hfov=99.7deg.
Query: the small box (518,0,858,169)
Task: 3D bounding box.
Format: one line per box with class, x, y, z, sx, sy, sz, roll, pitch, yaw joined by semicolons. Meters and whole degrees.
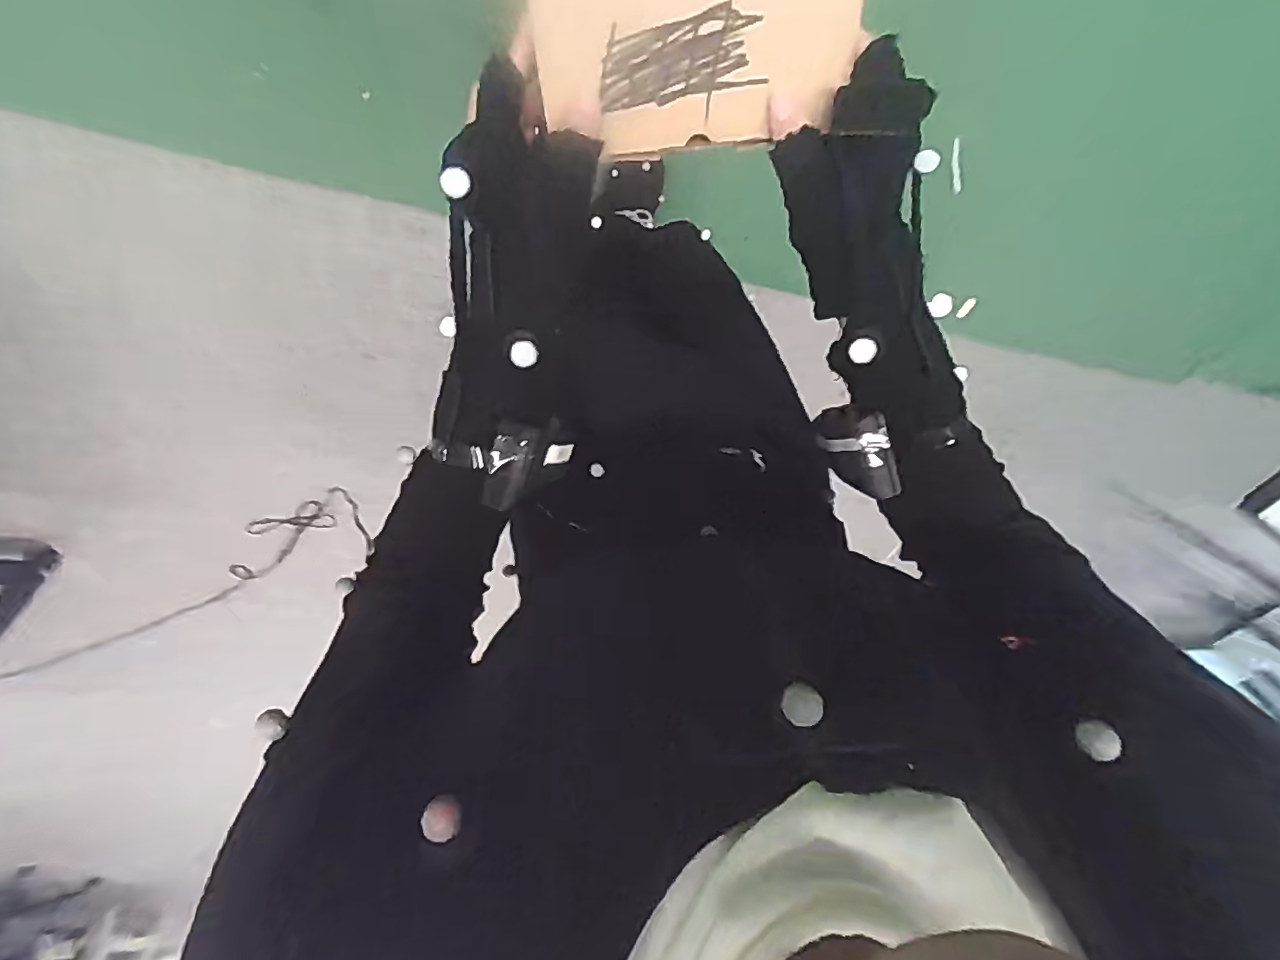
small box;0.016;-0.298;0.301;0.168;0.176;0.179;-8;131;-1
